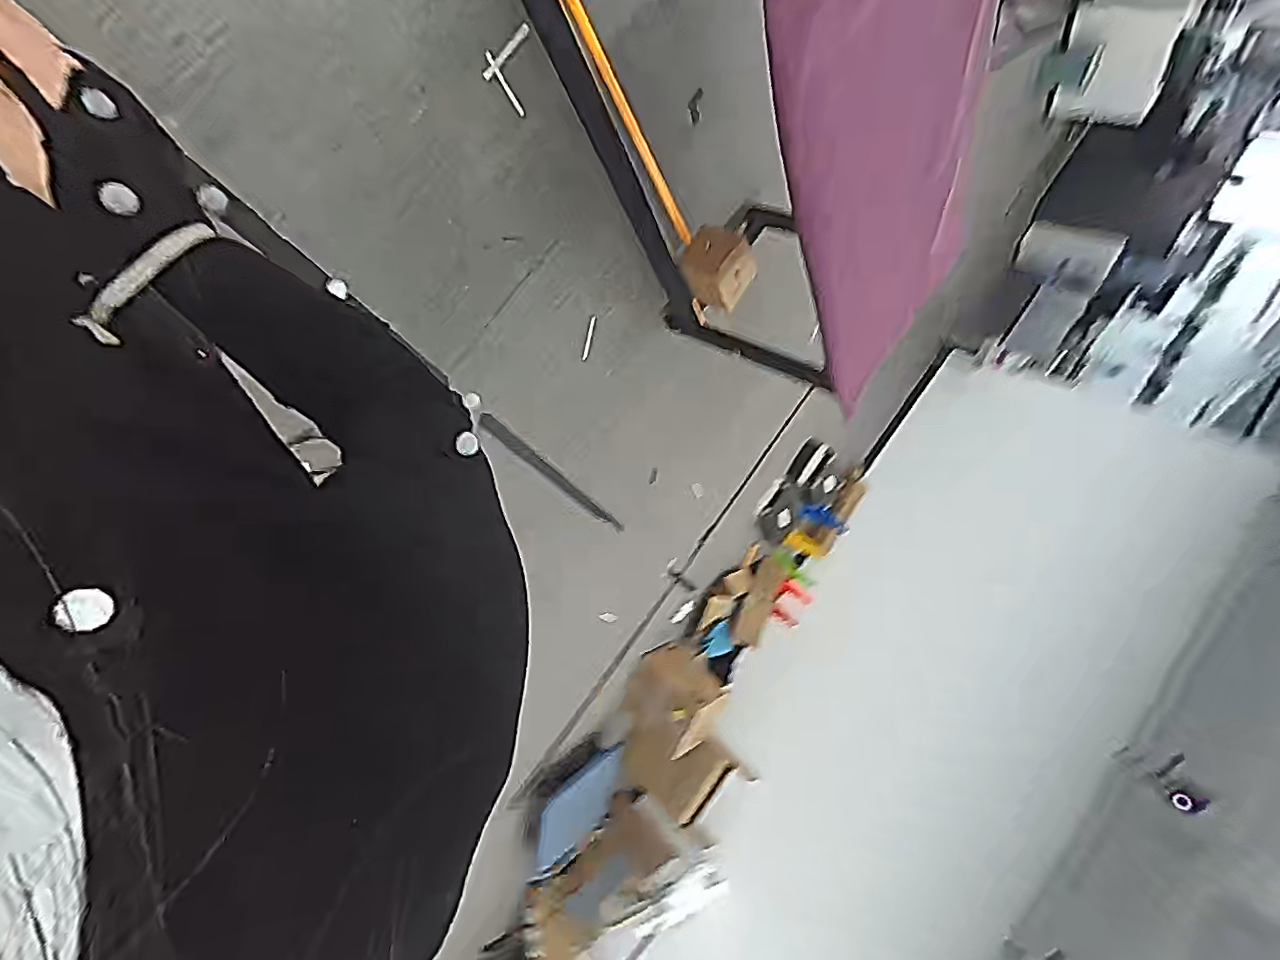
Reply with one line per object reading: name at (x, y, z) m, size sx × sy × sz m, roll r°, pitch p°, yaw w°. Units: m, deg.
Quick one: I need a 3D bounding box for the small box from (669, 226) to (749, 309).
small box at (0.219, -0.684, 1.728) m, size 0.168 × 0.176 × 0.179 m, roll -54°, pitch 147°, yaw -5°
